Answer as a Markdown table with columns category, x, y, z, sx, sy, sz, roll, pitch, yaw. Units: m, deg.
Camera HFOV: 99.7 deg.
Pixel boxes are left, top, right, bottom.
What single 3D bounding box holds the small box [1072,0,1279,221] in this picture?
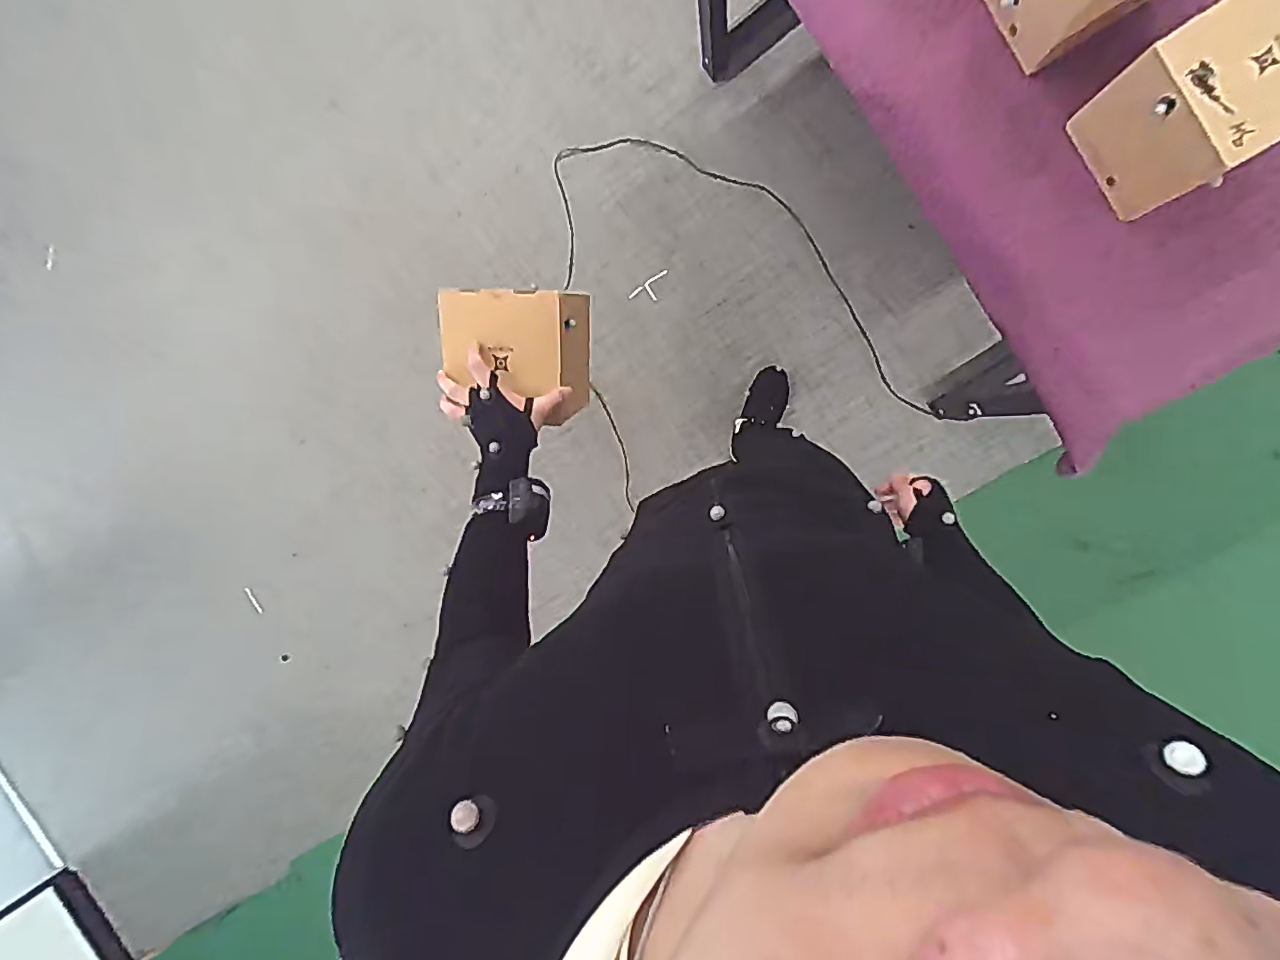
| category | x | y | z | sx | sy | sz | roll | pitch | yaw |
| --- | --- | --- | --- | --- | --- | --- | --- | --- | --- |
| small box | 0.694 | -0.458 | 0.658 | 0.179 | 0.176 | 0.168 | -30 | 89 | 11 |

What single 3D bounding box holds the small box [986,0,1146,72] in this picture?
| category | x | y | z | sx | sy | sz | roll | pitch | yaw |
| --- | --- | --- | --- | --- | --- | --- | --- | --- | --- |
| small box | 0.563 | -0.665 | 0.659 | 0.179 | 0.176 | 0.168 | -30 | 90 | 12 |

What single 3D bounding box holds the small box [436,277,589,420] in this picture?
| category | x | y | z | sx | sy | sz | roll | pitch | yaw |
| --- | --- | --- | --- | --- | --- | --- | --- | --- | --- |
| small box | -0.171 | -0.194 | 0.780 | 0.168 | 0.176 | 0.179 | 5 | 108 | 7 |
